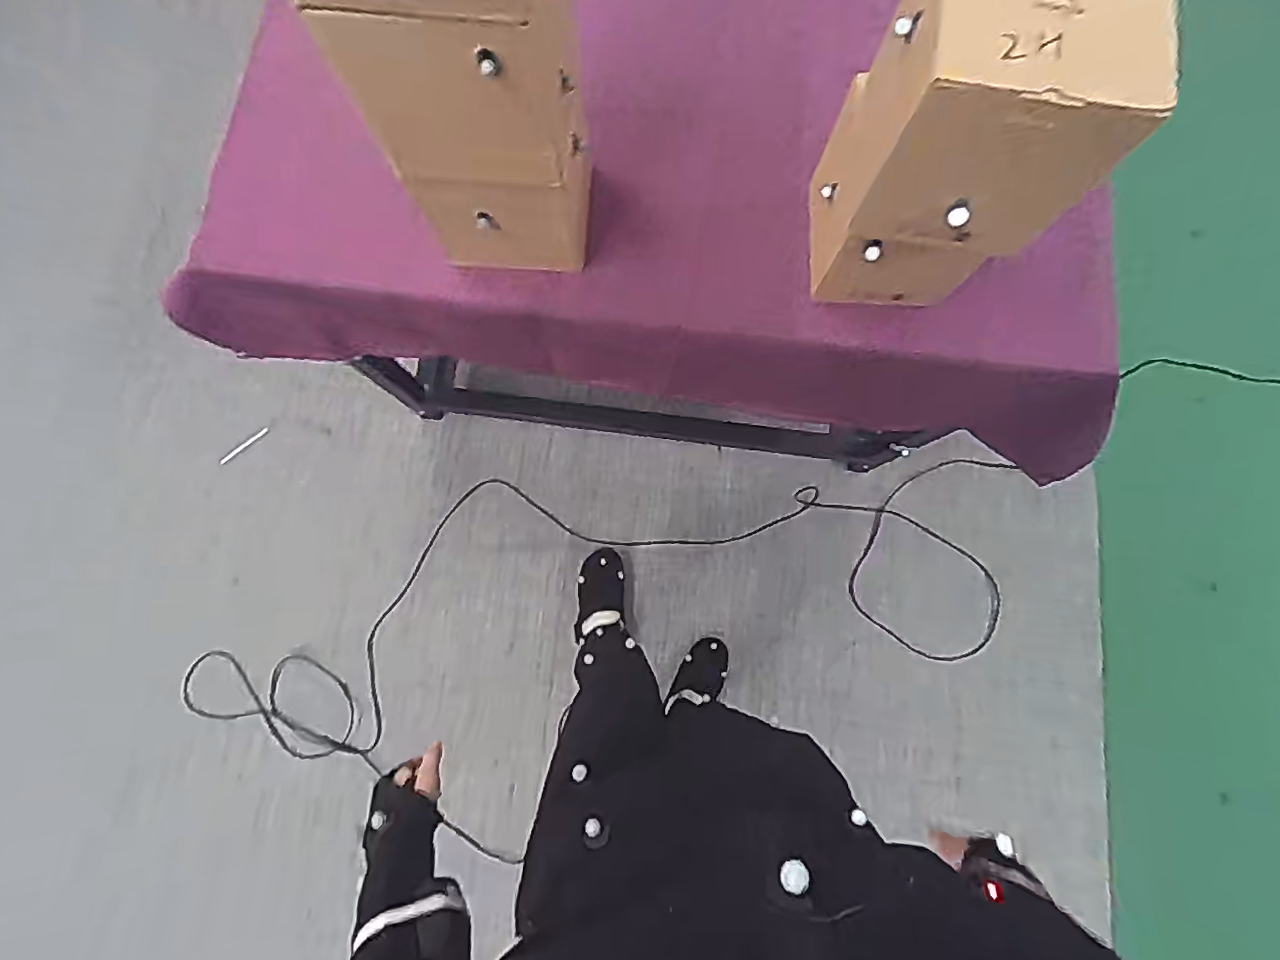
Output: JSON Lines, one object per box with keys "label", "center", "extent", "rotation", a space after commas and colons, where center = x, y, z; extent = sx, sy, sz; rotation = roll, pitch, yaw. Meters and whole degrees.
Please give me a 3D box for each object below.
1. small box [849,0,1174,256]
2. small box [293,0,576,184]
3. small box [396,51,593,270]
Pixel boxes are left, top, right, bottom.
{"label": "small box", "center": [0.295, -0.328, 0.464], "extent": [0.168, 0.176, 0.179], "rotation": [10, 79, 3]}
{"label": "small box", "center": [-0.160, -0.396, 0.483], "extent": [0.179, 0.176, 0.168], "rotation": [4, 79, 0]}
{"label": "small box", "center": [-0.157, -0.371, 0.644], "extent": [0.179, 0.176, 0.168], "rotation": [4, 80, 1]}
